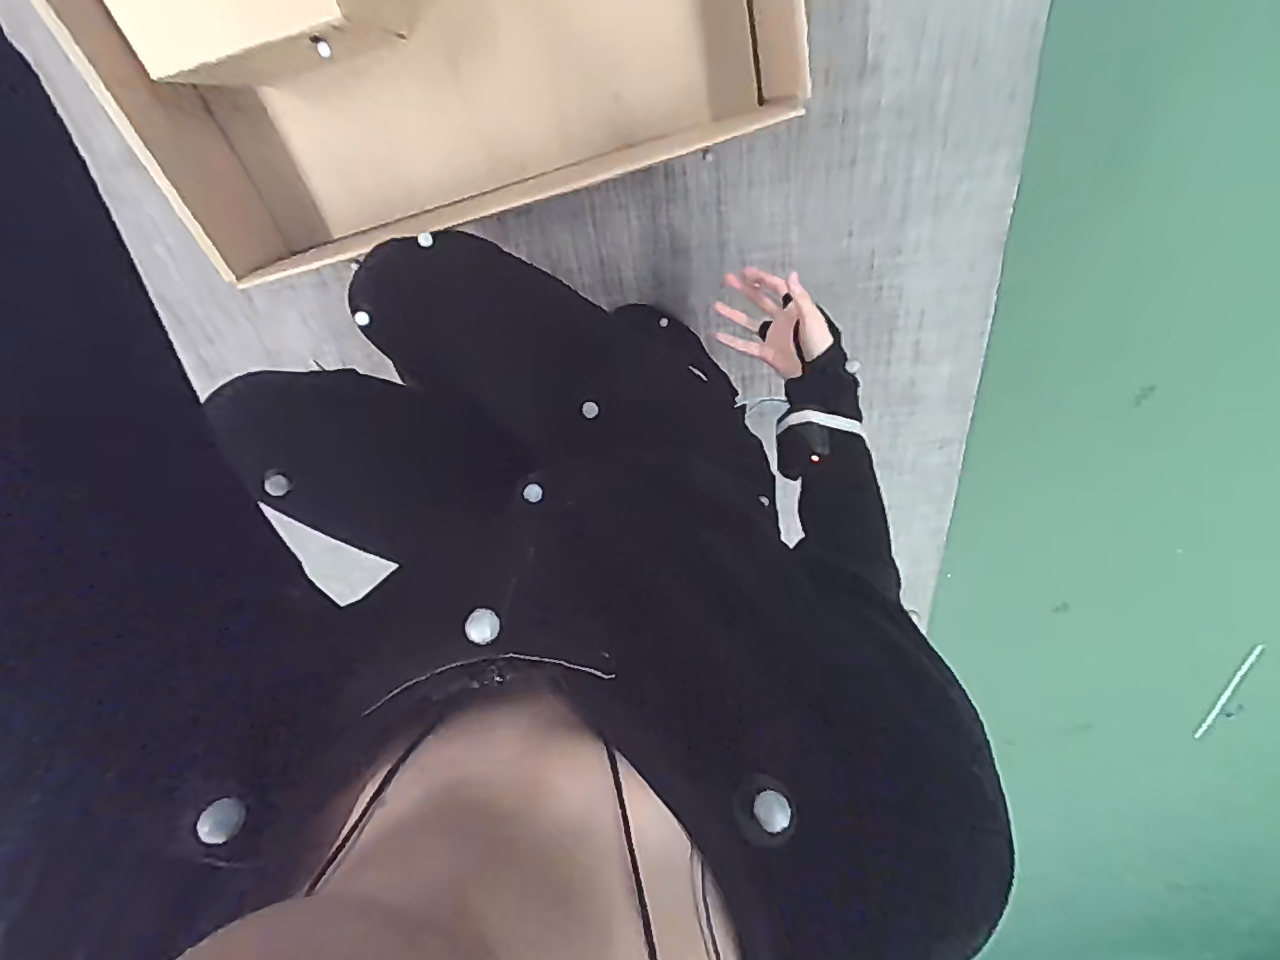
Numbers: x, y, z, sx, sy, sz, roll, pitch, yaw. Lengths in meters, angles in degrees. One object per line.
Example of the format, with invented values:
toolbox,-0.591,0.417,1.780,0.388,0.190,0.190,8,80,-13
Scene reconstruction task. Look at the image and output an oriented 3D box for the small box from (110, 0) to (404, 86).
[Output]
small box,-0.340,-0.460,0.464,0.179,0.176,0.168,-13,124,5
